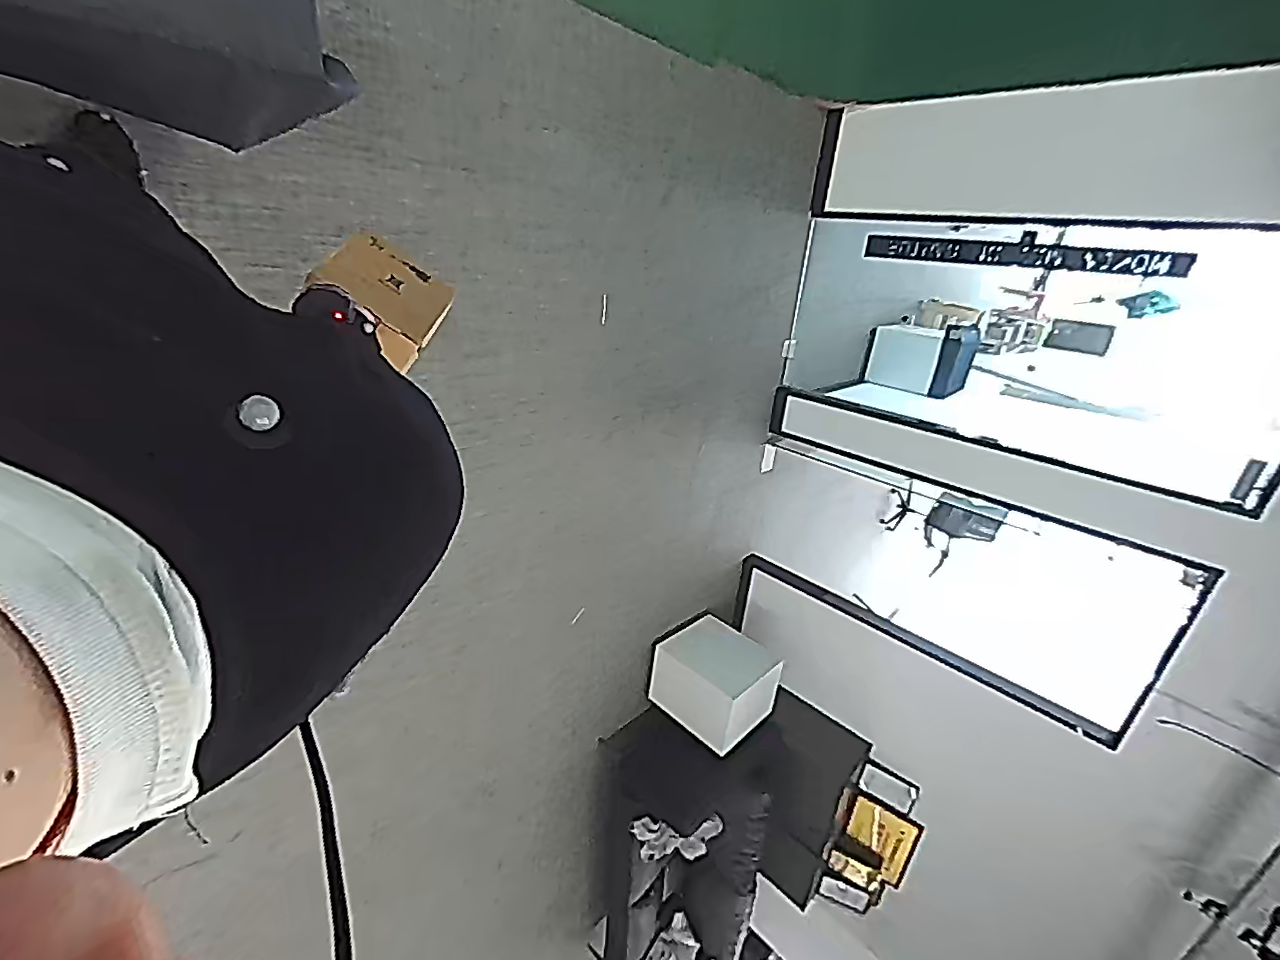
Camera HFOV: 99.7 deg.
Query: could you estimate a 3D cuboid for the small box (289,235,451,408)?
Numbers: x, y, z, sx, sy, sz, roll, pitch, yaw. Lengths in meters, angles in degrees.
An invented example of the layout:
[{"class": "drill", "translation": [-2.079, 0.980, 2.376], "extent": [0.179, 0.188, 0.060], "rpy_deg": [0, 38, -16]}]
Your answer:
[{"class": "small box", "translation": [-0.441, -0.251, 0.882], "extent": [0.168, 0.179, 0.176], "rpy_deg": [31, 130, -24]}]
